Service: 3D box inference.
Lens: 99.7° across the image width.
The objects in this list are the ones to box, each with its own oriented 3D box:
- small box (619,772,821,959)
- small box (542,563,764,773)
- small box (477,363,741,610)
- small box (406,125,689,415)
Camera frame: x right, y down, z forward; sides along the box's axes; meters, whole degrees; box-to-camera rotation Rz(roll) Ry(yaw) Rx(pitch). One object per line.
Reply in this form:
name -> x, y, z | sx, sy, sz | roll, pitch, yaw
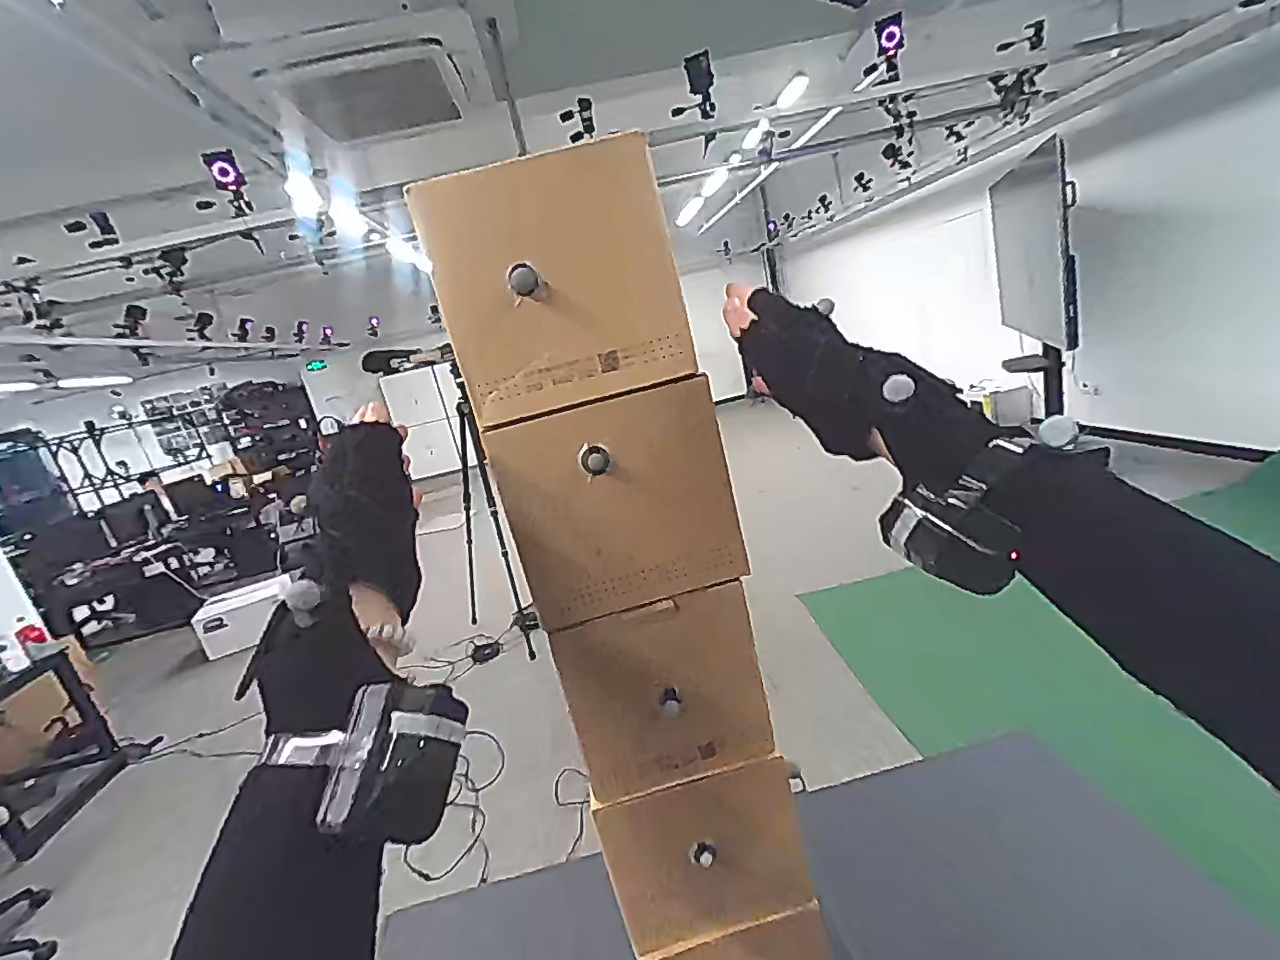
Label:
small box -> 0.085, 0.468, 0.590 | 0.179, 0.176, 0.168 | -15, 13, -5
small box -> 0.009, 0.155, 0.533 | 0.168, 0.176, 0.179 | -14, 13, -4
small box -> -0.025, -0.002, 0.493 | 0.179, 0.176, 0.168 | -14, 13, -3
small box -> -0.064, -0.155, 0.458 | 0.168, 0.176, 0.179 | -15, 12, -2
